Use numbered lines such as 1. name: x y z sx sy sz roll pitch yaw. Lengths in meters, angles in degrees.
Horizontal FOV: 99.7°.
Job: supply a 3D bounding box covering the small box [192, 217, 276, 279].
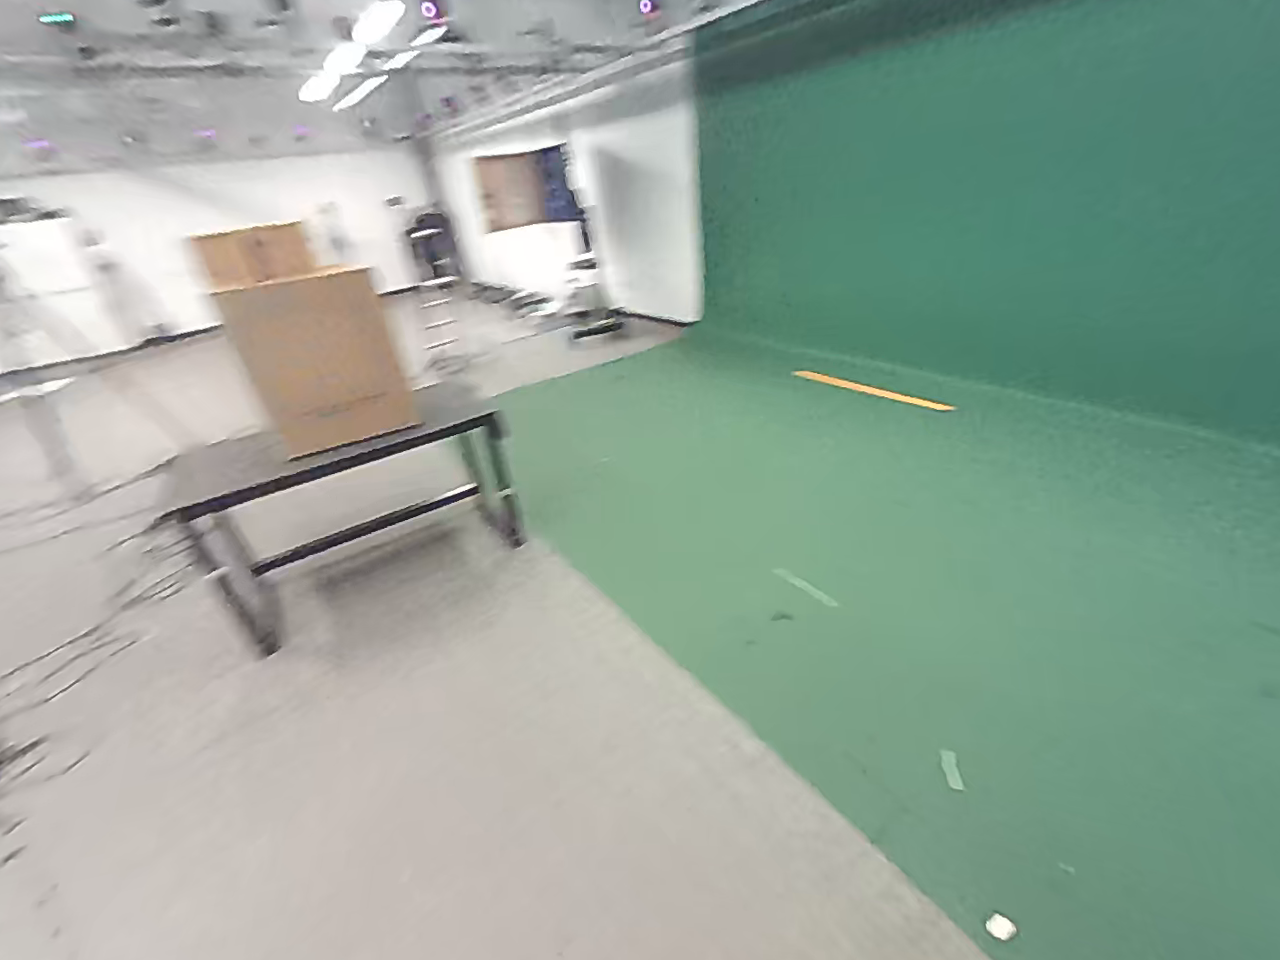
1. small box: -1.374 -0.793 1.846 0.168 0.176 0.179 -18 34 -18
